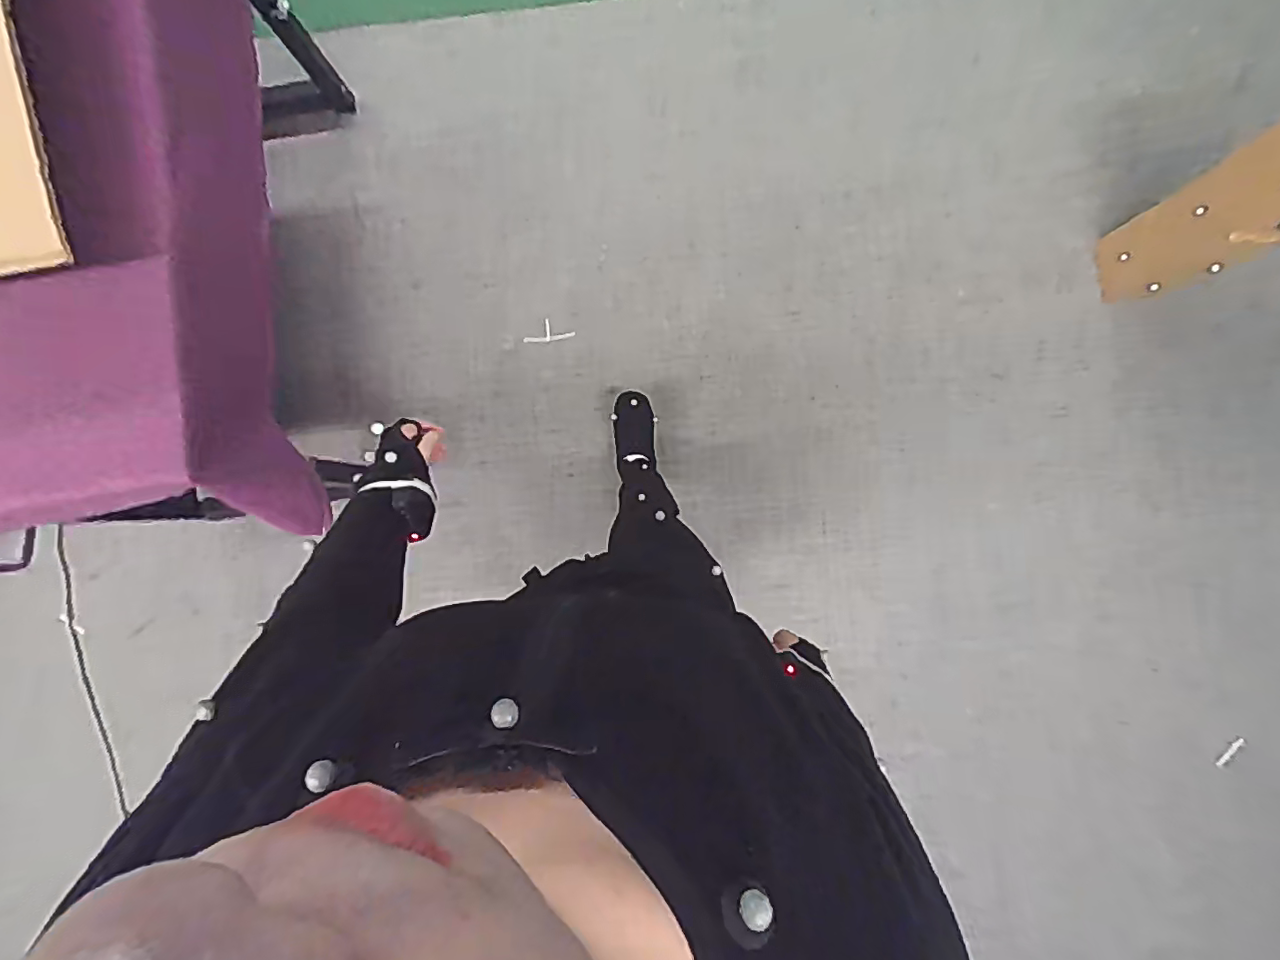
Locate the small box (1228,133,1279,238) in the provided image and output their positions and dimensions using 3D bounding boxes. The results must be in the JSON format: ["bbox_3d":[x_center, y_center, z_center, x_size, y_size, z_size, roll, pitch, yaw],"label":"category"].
[{"bbox_3d":[1.351,-0.613,1.087,0.168,0.176,0.179,1,87,2],"label":"small box"}]

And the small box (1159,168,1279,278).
[{"bbox_3d":[1.357,-0.590,1.249,0.168,0.176,0.179,-2,86,2],"label":"small box"}]
